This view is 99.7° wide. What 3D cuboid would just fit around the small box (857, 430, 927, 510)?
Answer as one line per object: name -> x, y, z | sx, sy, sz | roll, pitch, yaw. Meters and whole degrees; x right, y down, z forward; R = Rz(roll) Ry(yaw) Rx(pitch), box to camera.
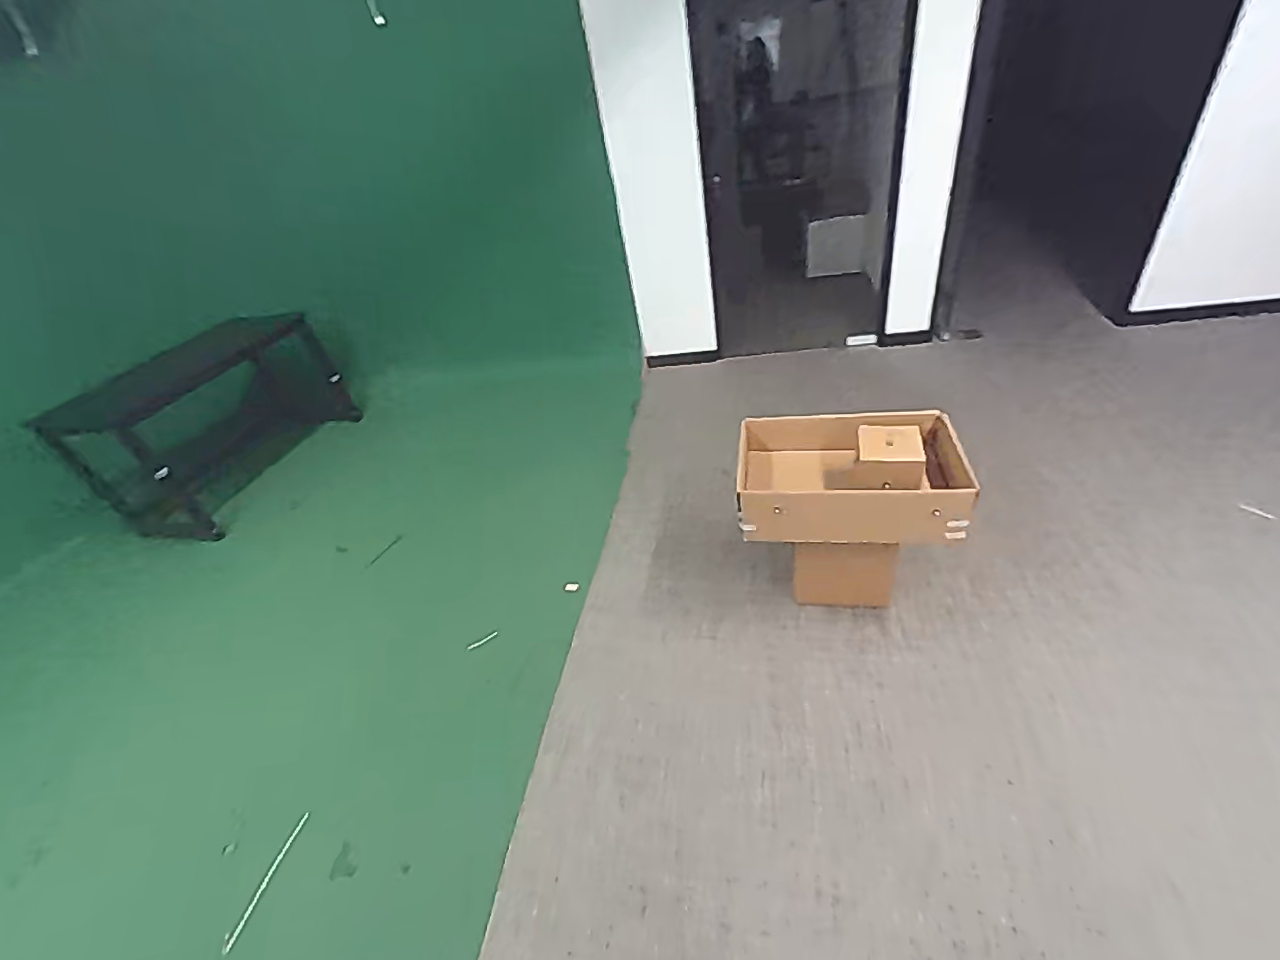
small box -> 0.728, -0.028, 1.575 | 0.168, 0.176, 0.179 | 2, 39, 19
